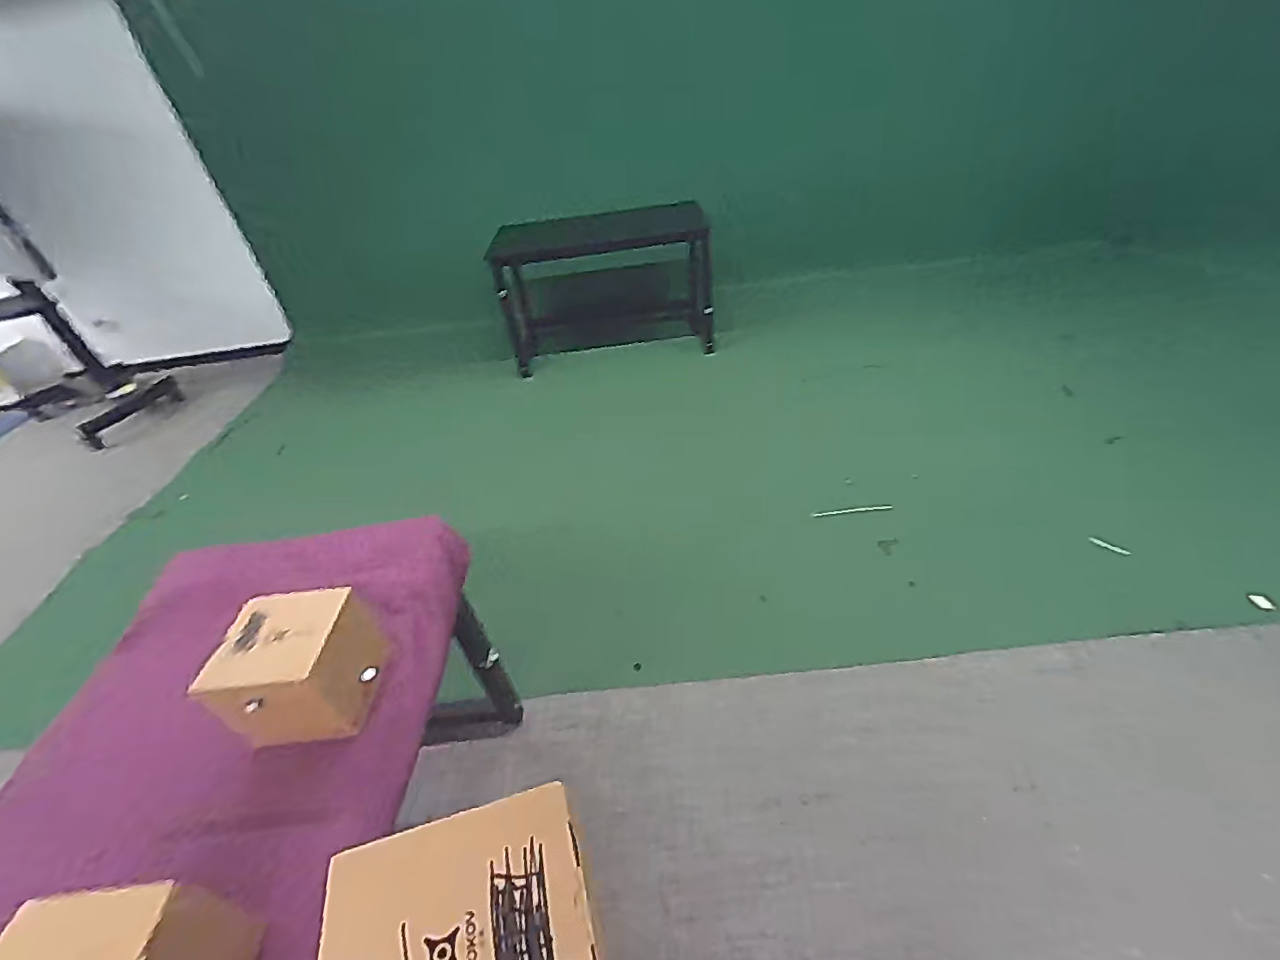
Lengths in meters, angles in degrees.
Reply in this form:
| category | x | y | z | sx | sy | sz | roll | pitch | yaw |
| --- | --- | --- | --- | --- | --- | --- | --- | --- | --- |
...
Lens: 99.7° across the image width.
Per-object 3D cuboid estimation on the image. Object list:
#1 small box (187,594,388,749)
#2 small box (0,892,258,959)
| category | x | y | z | sx | sy | sz | roll | pitch | yaw |
| --- | --- | --- | --- | --- | --- | --- | --- | --- | --- |
| small box | -0.540 | 0.306 | 0.859 | 0.179 | 0.176 | 0.168 | -7 | 38 | 2 |
| small box | -0.551 | 0.551 | 0.549 | 0.179 | 0.176 | 0.168 | -9 | 39 | 2 |
